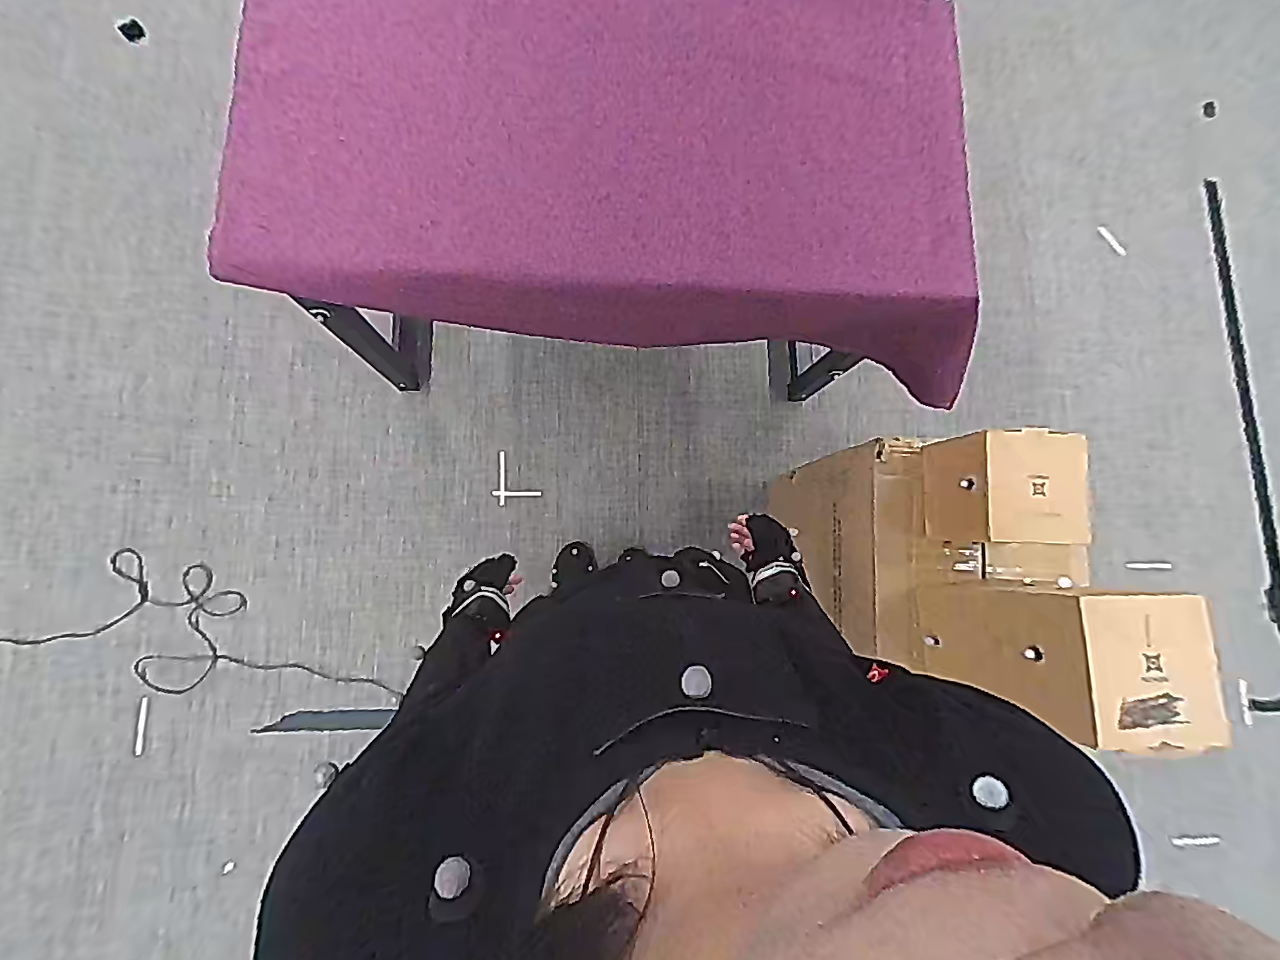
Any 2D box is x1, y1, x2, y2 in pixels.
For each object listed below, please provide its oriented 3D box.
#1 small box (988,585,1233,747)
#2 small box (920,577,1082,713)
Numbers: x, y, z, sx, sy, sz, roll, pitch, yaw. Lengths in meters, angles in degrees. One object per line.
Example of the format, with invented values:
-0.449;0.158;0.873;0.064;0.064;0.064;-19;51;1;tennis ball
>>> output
0.593;0.229;0.706;0.168;0.176;0.179;0;80;-4;small box
0.583;0.254;0.870;0.168;0.176;0.179;-5;82;-5;small box
